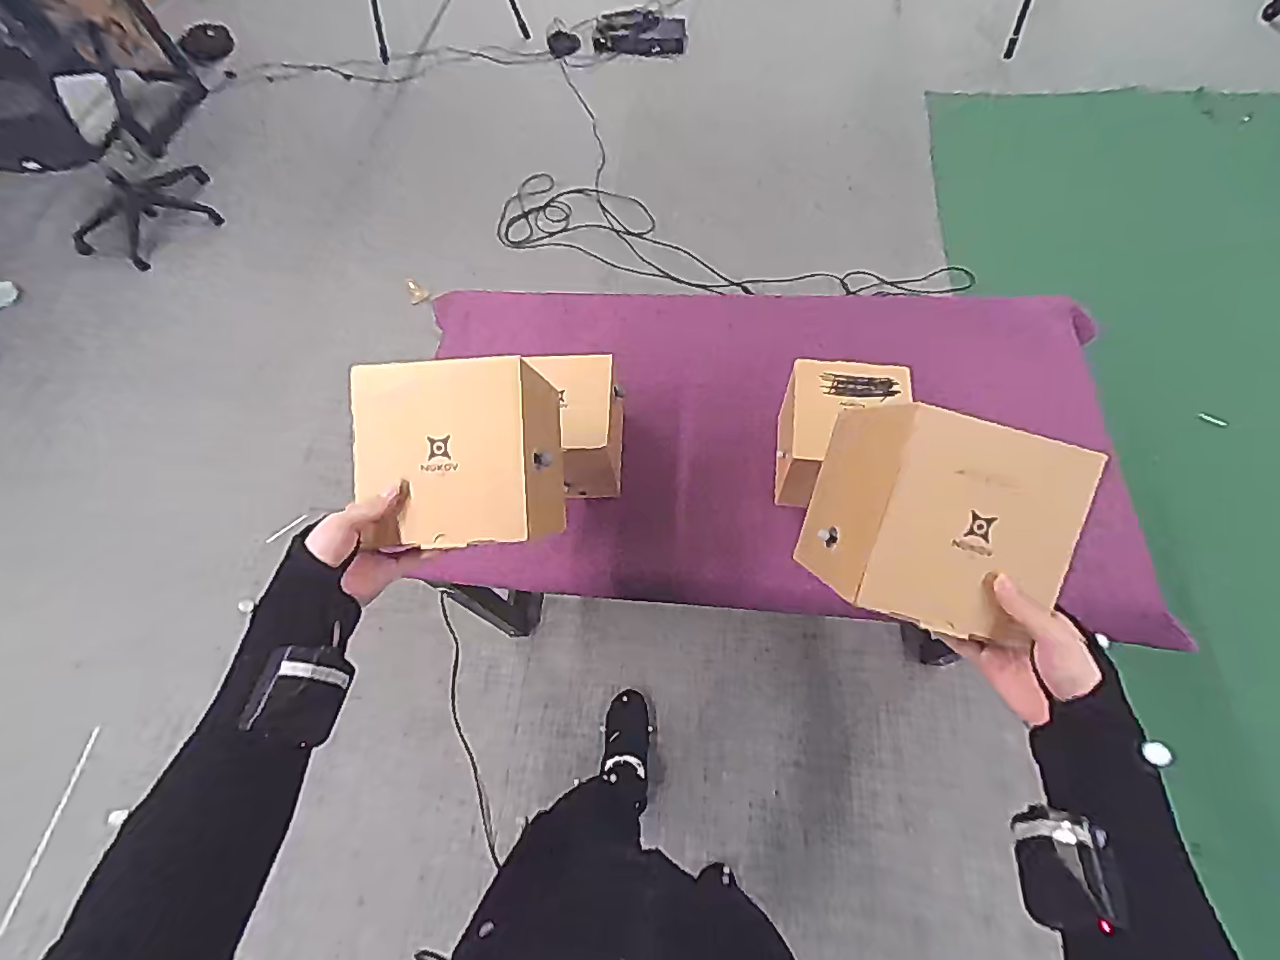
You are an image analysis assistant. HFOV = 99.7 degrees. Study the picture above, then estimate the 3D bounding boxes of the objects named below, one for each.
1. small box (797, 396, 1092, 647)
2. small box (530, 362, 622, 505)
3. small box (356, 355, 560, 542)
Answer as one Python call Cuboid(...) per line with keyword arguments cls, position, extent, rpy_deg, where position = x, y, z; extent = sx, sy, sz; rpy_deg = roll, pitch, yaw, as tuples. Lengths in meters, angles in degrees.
Cuboid(cls="small box", position=(0.268, 0.031, 0.525), extent=(0.168, 0.176, 0.179), rpy_deg=(16, 94, -2))
Cuboid(cls="small box", position=(-0.122, -0.074, 0.894), extent=(0.168, 0.176, 0.179), rpy_deg=(-1, 62, 5))
Cuboid(cls="small box", position=(-0.185, -0.027, 0.594), extent=(0.168, 0.176, 0.179), rpy_deg=(-3, 89, 3))
